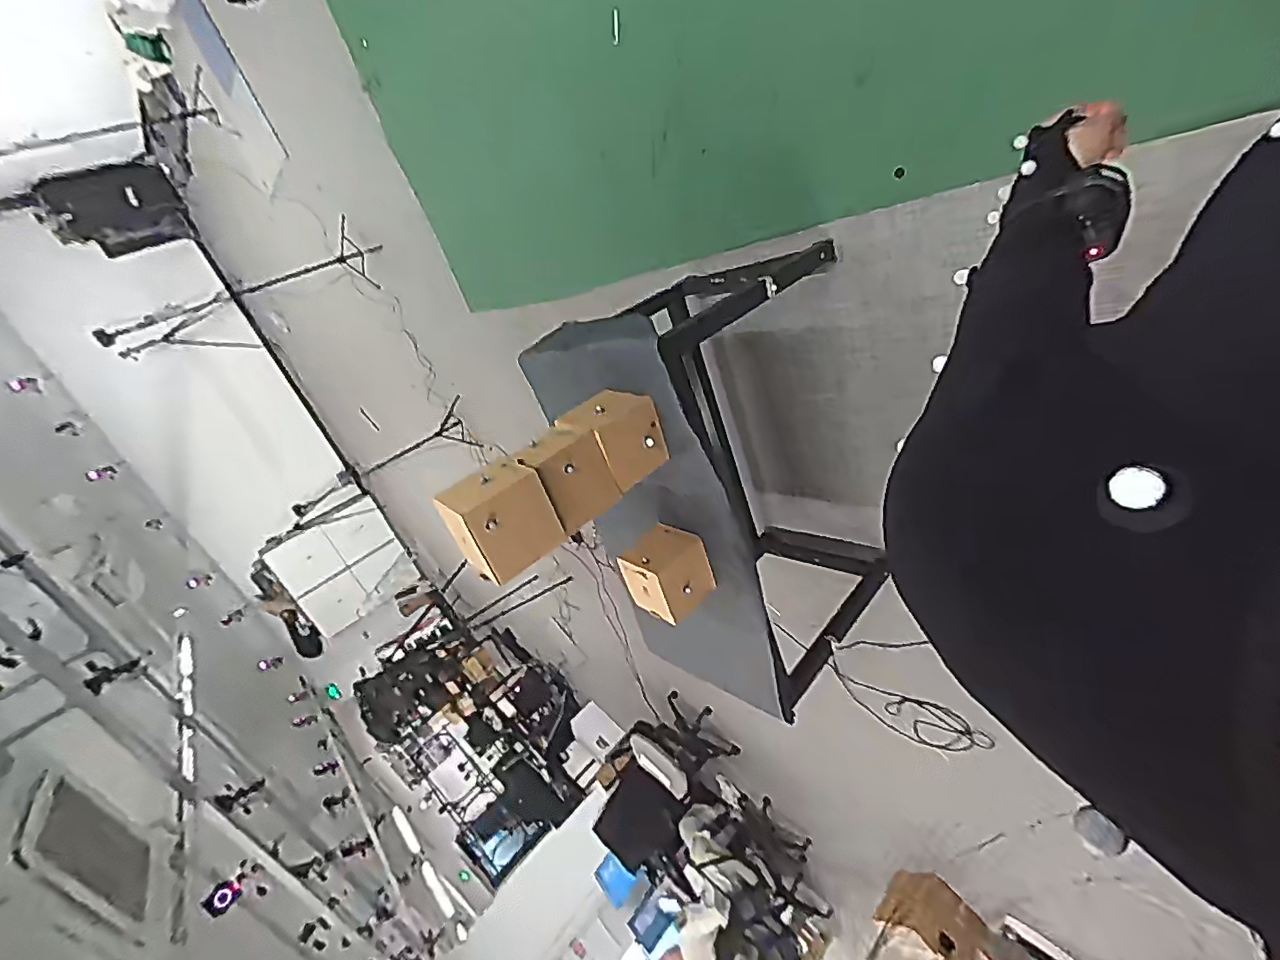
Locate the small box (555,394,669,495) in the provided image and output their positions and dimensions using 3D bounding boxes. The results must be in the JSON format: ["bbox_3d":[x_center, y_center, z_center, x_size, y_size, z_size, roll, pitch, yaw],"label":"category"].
[{"bbox_3d":[-0.062,-0.088,1.264,0.179,0.176,0.168,17,136,46],"label":"small box"}]

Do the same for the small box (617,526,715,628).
[{"bbox_3d":[0.075,0.251,1.435,0.168,0.176,0.179,13,133,48],"label":"small box"}]

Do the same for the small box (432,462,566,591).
[{"bbox_3d":[-0.280,0.084,1.090,0.168,0.176,0.179,17,135,50],"label":"small box"}]

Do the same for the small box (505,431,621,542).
[{"bbox_3d":[-0.173,0.006,1.191,0.168,0.176,0.179,11,132,53],"label":"small box"}]
